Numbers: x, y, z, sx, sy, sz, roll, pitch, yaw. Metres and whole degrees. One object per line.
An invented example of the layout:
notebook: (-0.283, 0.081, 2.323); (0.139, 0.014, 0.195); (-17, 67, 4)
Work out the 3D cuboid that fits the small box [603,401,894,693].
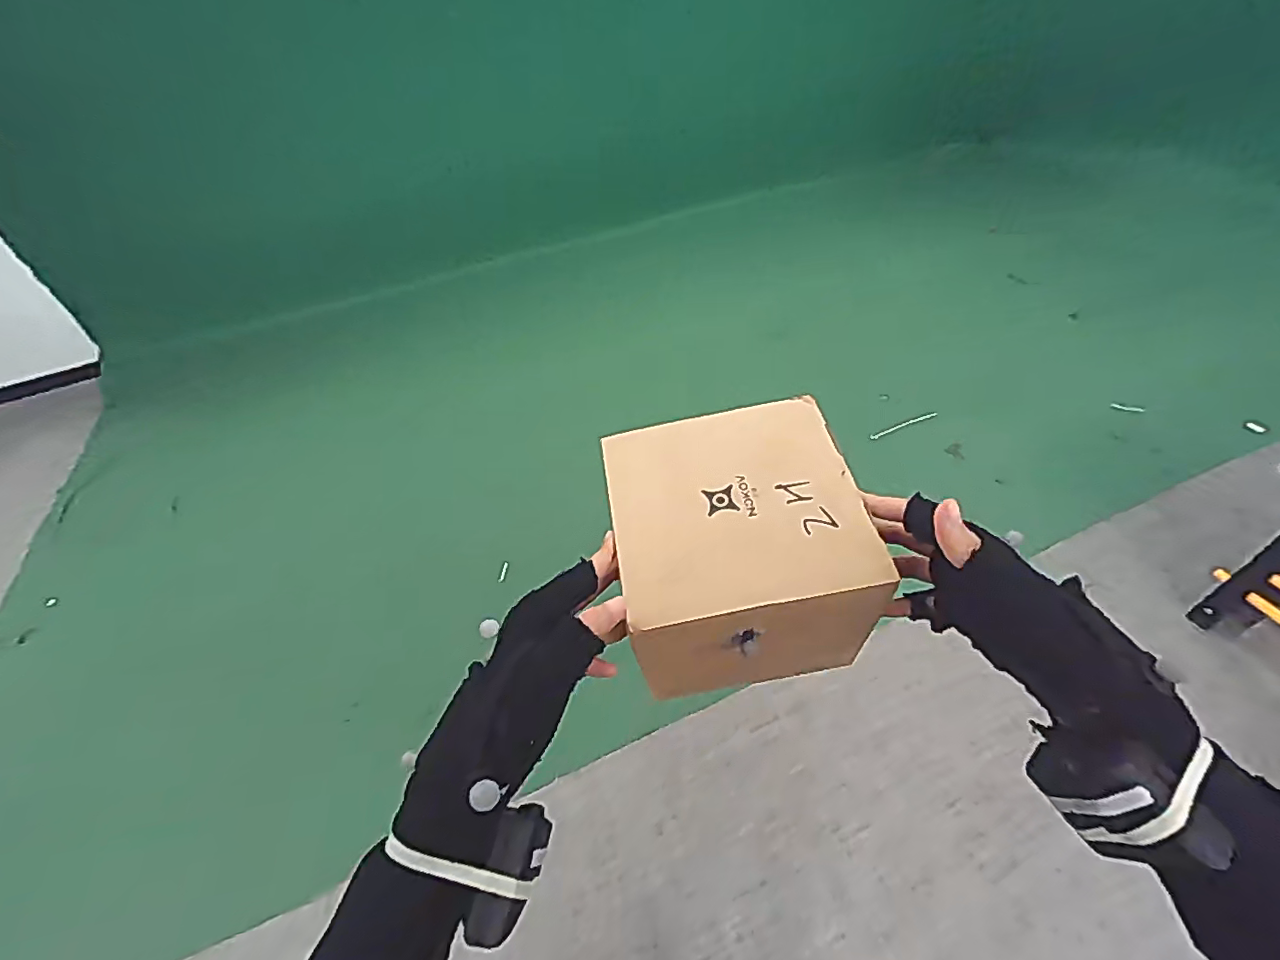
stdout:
small box: (0.076, 0.063, 0.450); (0.179, 0.176, 0.168); (-10, 54, 1)
